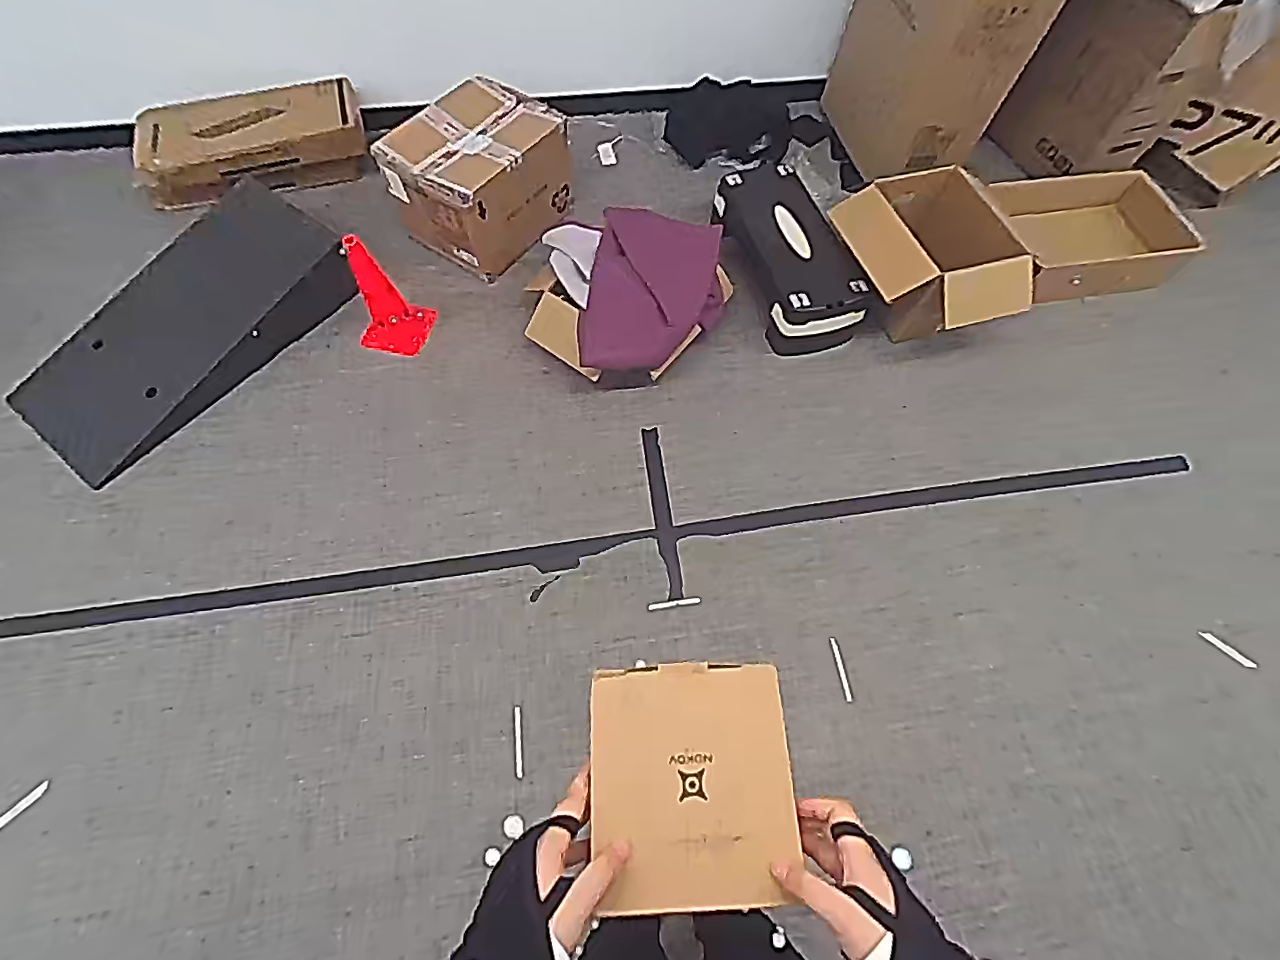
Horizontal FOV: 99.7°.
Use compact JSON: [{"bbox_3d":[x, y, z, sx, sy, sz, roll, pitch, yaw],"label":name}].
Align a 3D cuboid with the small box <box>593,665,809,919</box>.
[{"bbox_3d":[0.042,0.280,0.512,0.168,0.176,0.179,-3,65,-2],"label":"small box"}]
